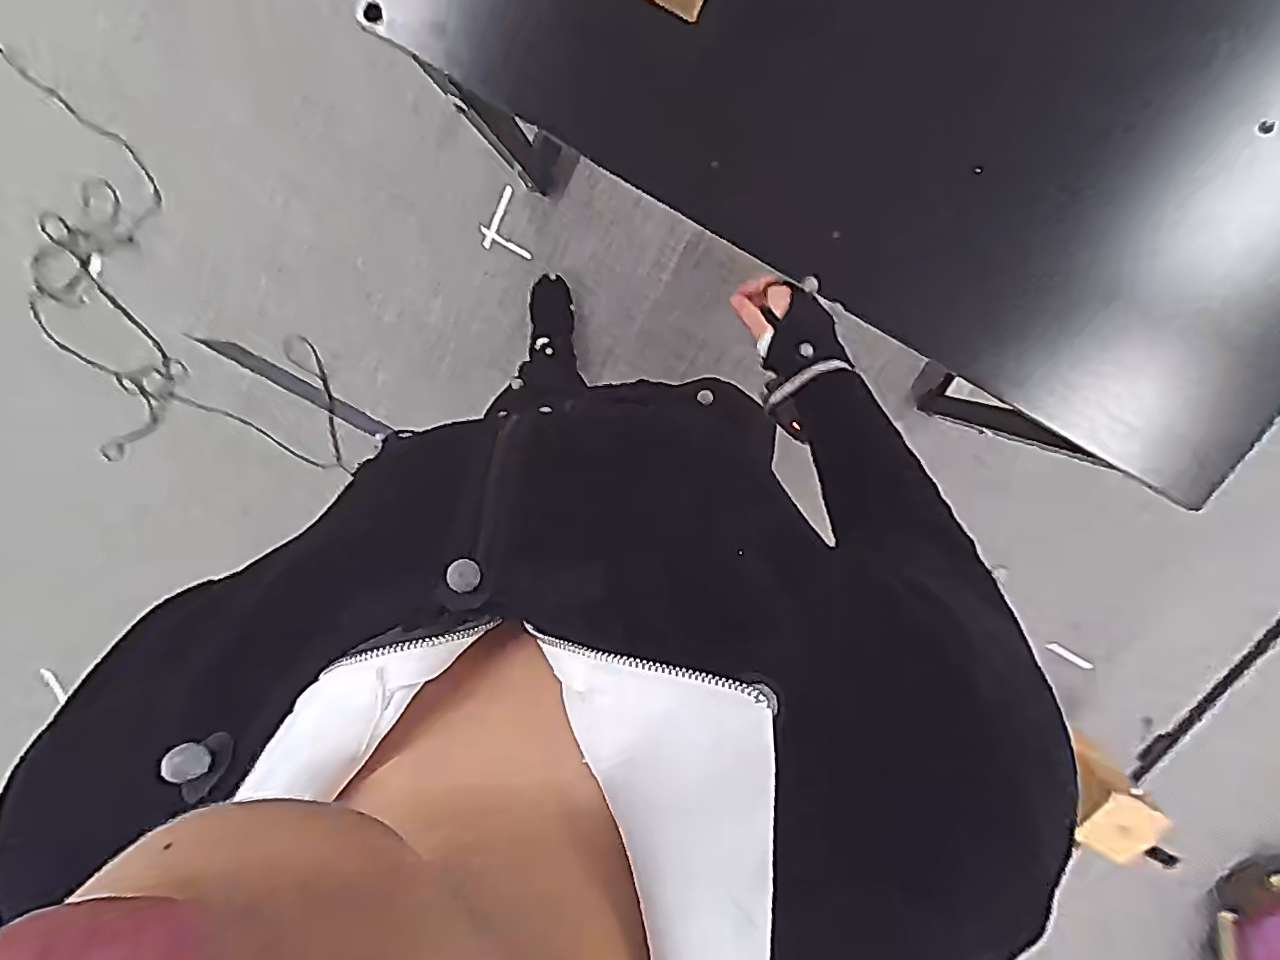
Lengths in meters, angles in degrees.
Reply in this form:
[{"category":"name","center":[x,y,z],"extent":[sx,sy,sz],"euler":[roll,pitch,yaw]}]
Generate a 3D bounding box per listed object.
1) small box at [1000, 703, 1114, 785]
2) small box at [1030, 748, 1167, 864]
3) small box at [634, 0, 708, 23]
[{"category":"small box","center":[1.199,0.798,1.577],"extent":[0.168,0.176,0.179],"euler":[30,103,-6]},{"category":"small box","center":[1.193,0.847,1.422],"extent":[0.179,0.176,0.168],"euler":[29,103,-4]},{"category":"small box","center":[0.015,-0.591,0.507],"extent":[0.179,0.176,0.168],"euler":[26,104,-6]}]
